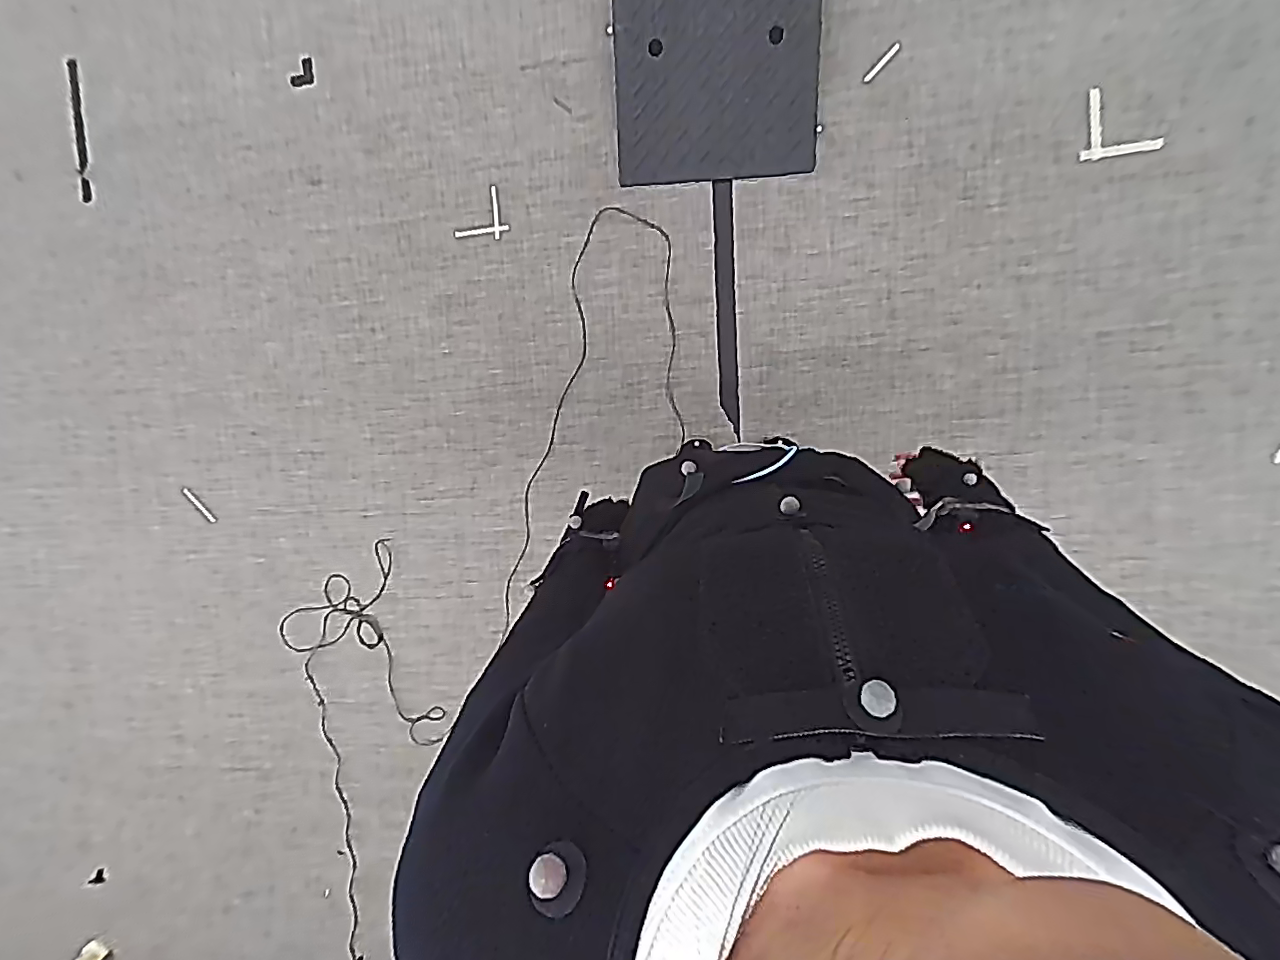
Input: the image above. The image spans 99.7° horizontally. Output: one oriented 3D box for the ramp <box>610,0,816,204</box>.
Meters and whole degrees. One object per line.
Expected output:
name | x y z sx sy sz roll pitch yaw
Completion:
ramp | 0.167 -1.222 1.283 0.509 0.206 0.991 -4 94 7
